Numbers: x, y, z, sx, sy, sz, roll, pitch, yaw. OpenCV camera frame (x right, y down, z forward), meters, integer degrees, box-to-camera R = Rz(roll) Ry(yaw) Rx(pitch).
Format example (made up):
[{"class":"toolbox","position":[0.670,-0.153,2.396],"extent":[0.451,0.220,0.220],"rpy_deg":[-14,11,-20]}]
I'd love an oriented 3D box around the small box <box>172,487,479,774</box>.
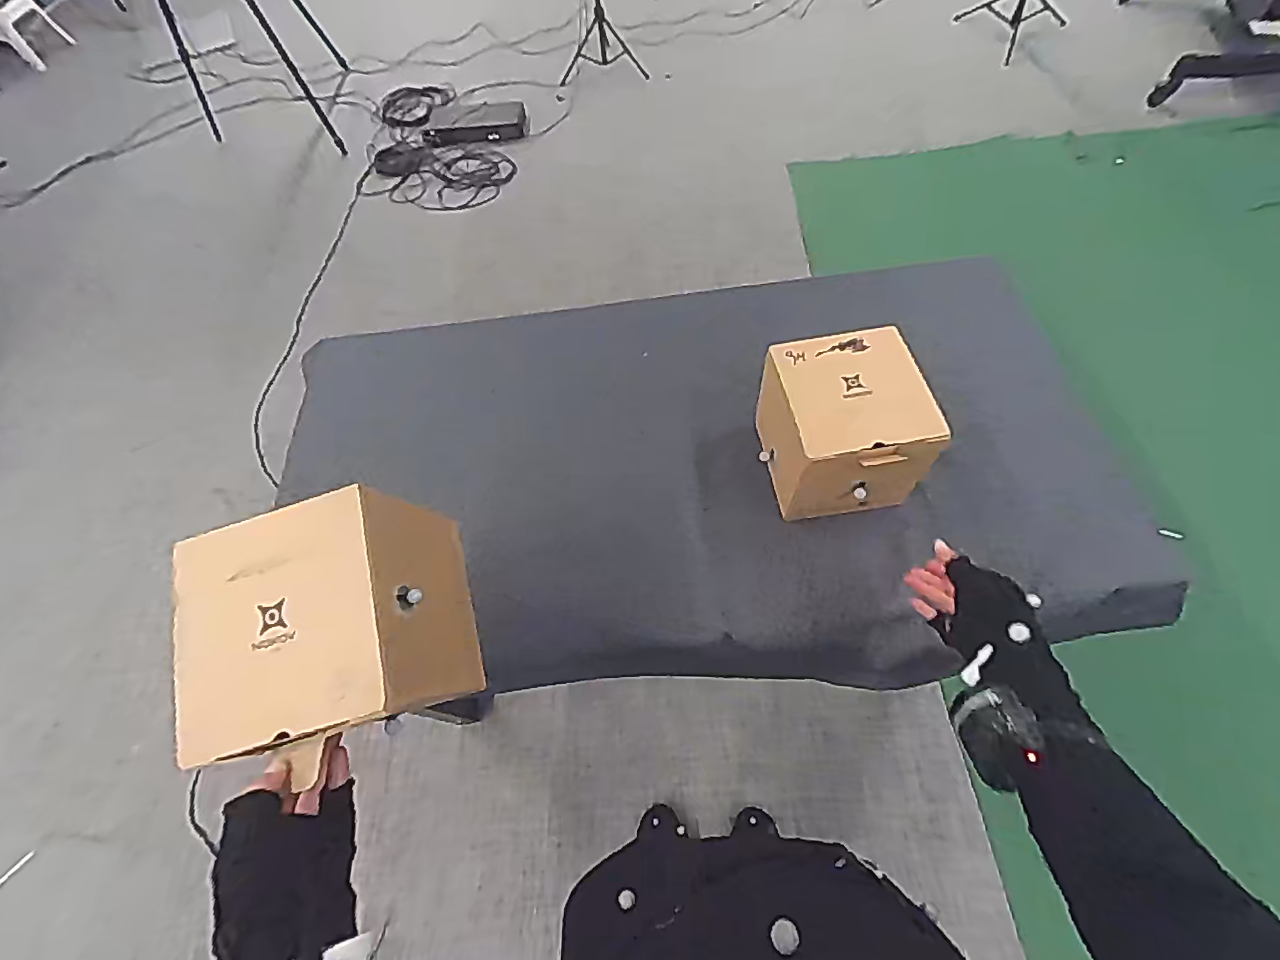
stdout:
[{"class":"small box","position":[-0.260,0.127,0.478],"extent":[0.168,0.176,0.179],"rpy_deg":[-18,72,3]}]

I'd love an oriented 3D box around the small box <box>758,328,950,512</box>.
[{"class":"small box","position":[0.262,-0.068,0.712],"extent":[0.168,0.176,0.179],"rpy_deg":[-8,61,-1]}]
